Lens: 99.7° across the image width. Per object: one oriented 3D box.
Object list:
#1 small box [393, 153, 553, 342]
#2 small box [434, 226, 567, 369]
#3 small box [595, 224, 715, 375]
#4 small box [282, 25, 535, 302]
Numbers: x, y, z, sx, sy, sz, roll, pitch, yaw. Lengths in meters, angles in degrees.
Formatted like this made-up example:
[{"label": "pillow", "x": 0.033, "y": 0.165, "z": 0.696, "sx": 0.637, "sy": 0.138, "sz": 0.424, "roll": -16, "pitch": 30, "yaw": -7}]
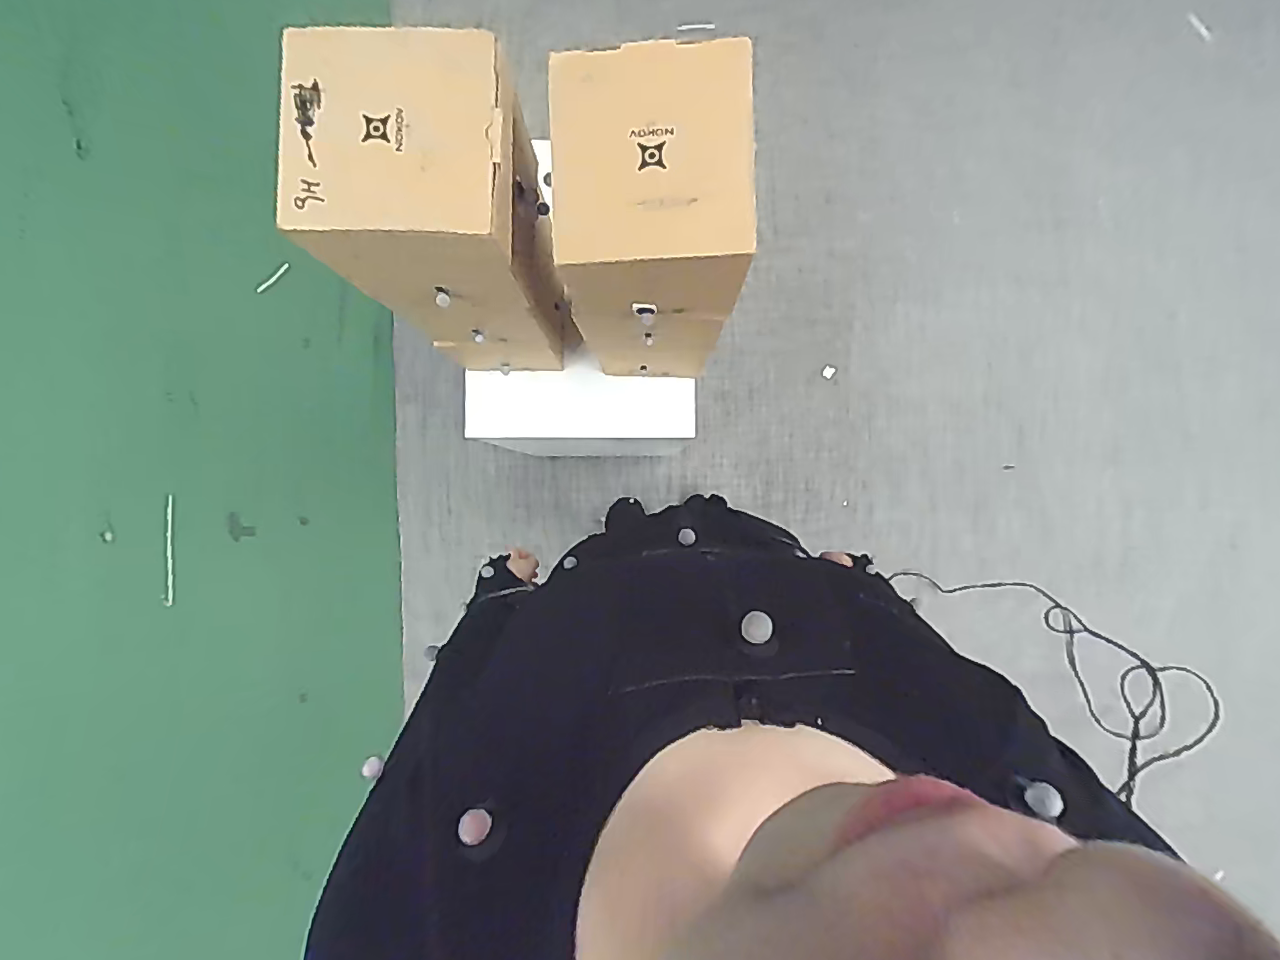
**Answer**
[{"label": "small box", "x": -0.205, "y": -0.286, "z": 0.681, "sx": 0.168, "sy": 0.176, "sz": 0.179, "roll": 1, "pitch": 89, "yaw": 0}, {"label": "small box", "x": -0.209, "y": -0.279, "z": 0.845, "sx": 0.168, "sy": 0.176, "sz": 0.179, "roll": 0, "pitch": 90, "yaw": 0}, {"label": "small box", "x": 0.023, "y": -0.271, "z": 0.841, "sx": 0.168, "sy": 0.176, "sz": 0.179, "roll": 2, "pitch": 90, "yaw": 2}, {"label": "small box", "x": -0.200, "y": -0.280, "z": 0.516, "sx": 0.179, "sy": 0.176, "sz": 0.168, "roll": 2, "pitch": 89, "yaw": -1}]
